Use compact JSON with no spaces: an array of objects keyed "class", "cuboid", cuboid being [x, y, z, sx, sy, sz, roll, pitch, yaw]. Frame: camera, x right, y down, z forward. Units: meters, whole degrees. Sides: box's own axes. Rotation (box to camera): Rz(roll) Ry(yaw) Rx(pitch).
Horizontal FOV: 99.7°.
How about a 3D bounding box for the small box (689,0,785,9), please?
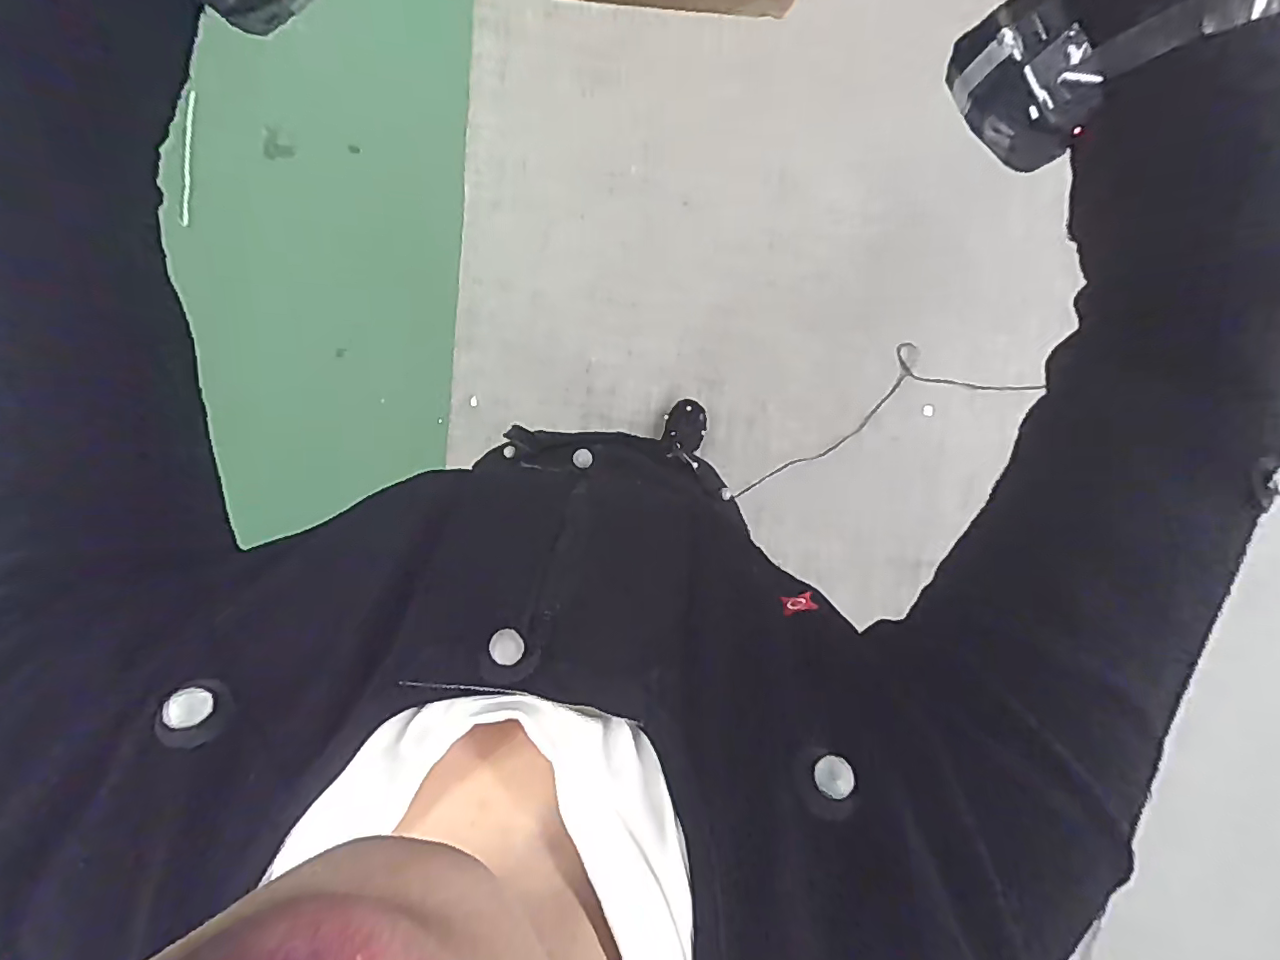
[{"class":"small box","cuboid":[0.038,-0.414,0.304,0.179,0.176,0.168,3,101,-4]}]
